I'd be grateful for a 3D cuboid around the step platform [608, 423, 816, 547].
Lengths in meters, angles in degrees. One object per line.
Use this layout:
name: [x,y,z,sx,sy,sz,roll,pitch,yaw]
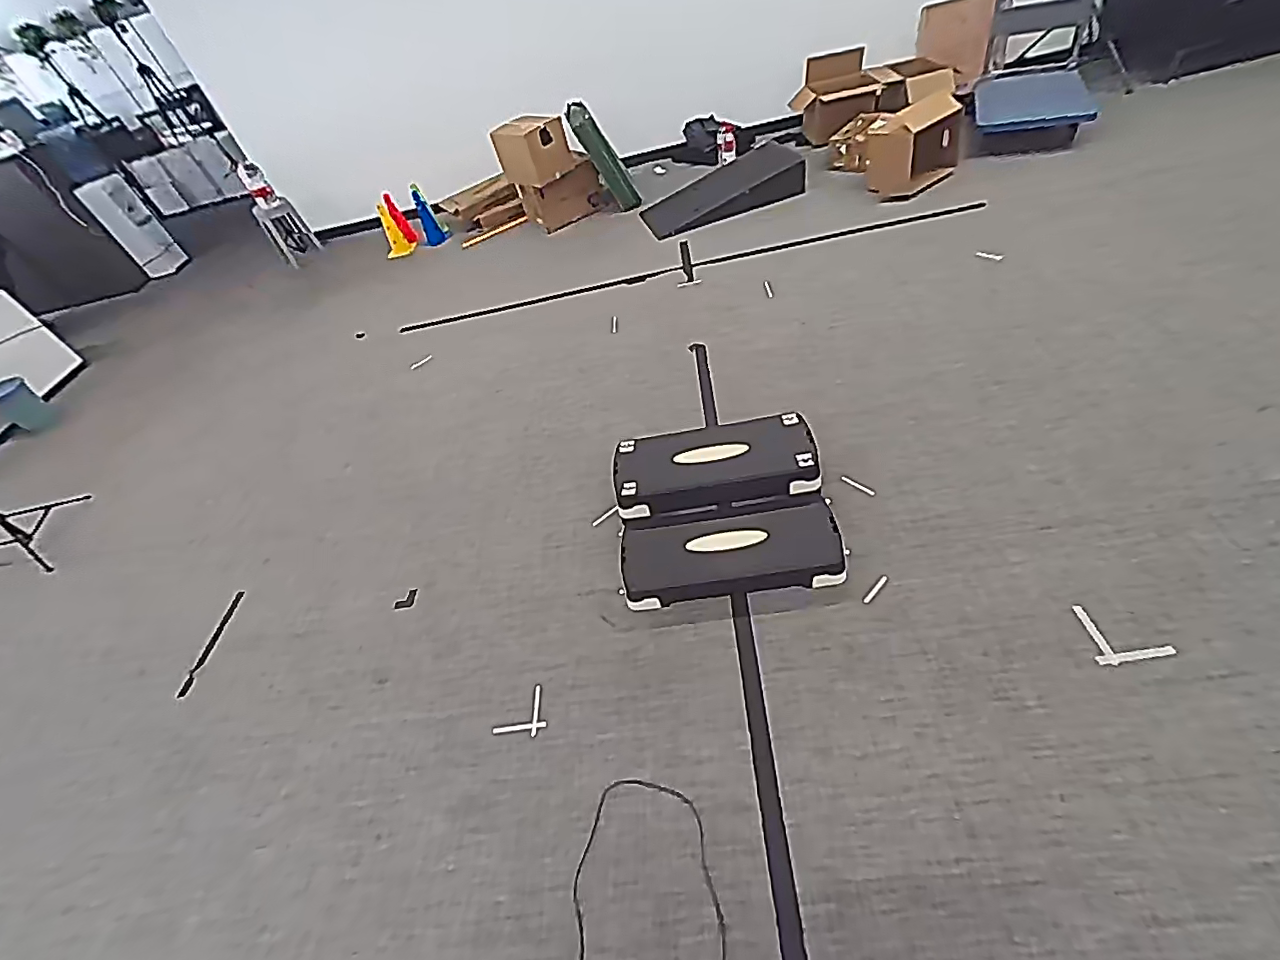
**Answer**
step platform: [0.234,0.013,1.835,0.684,0.204,0.286,-10,46,6]
